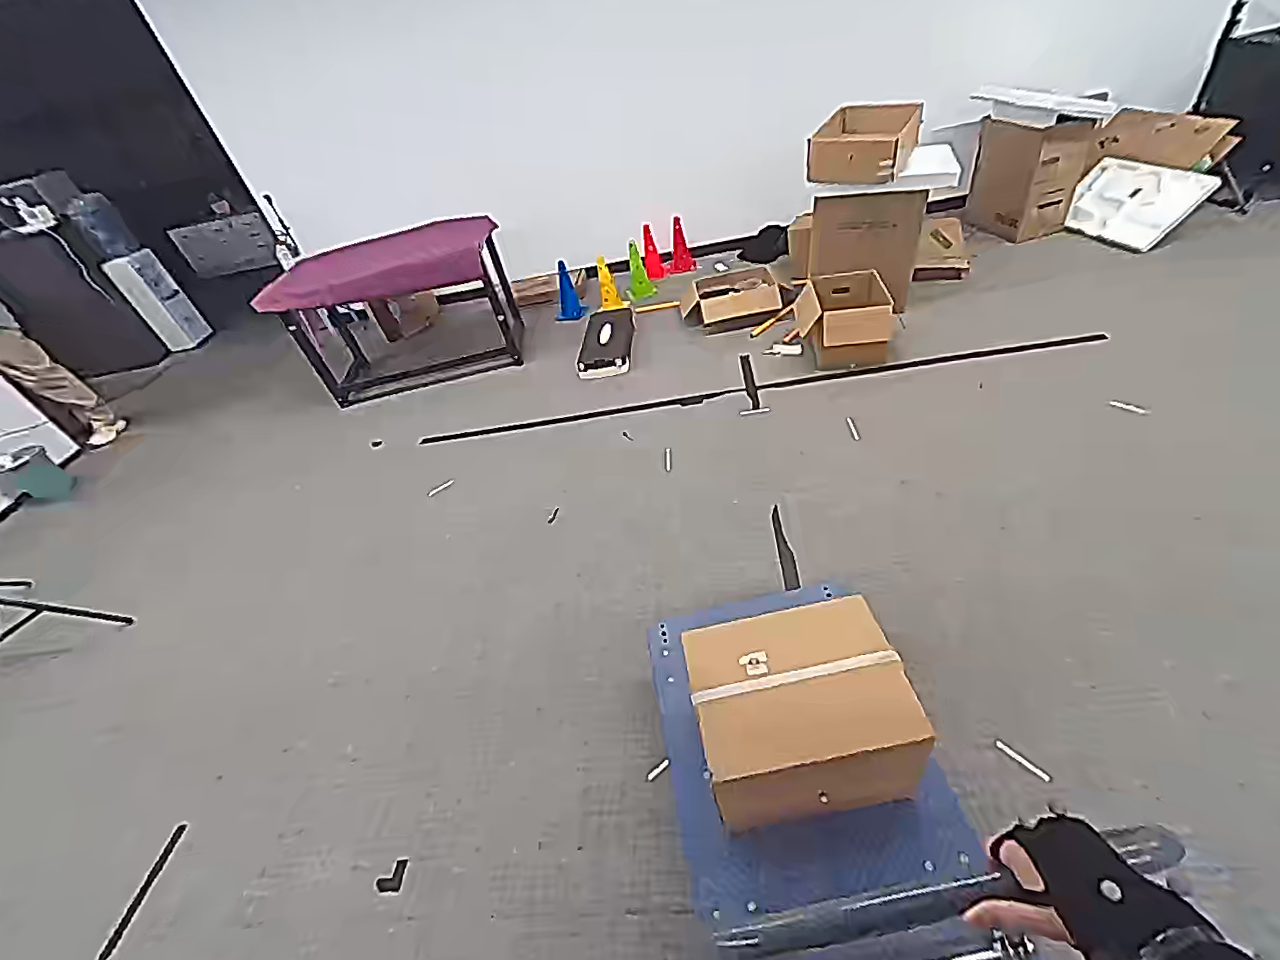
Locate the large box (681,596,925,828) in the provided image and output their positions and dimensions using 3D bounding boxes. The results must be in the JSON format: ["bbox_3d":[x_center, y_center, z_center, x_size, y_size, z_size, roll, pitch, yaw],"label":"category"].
[{"bbox_3d":[0.334,0.510,1.186,0.408,0.320,0.320,-14,40,2],"label":"large box"}]
